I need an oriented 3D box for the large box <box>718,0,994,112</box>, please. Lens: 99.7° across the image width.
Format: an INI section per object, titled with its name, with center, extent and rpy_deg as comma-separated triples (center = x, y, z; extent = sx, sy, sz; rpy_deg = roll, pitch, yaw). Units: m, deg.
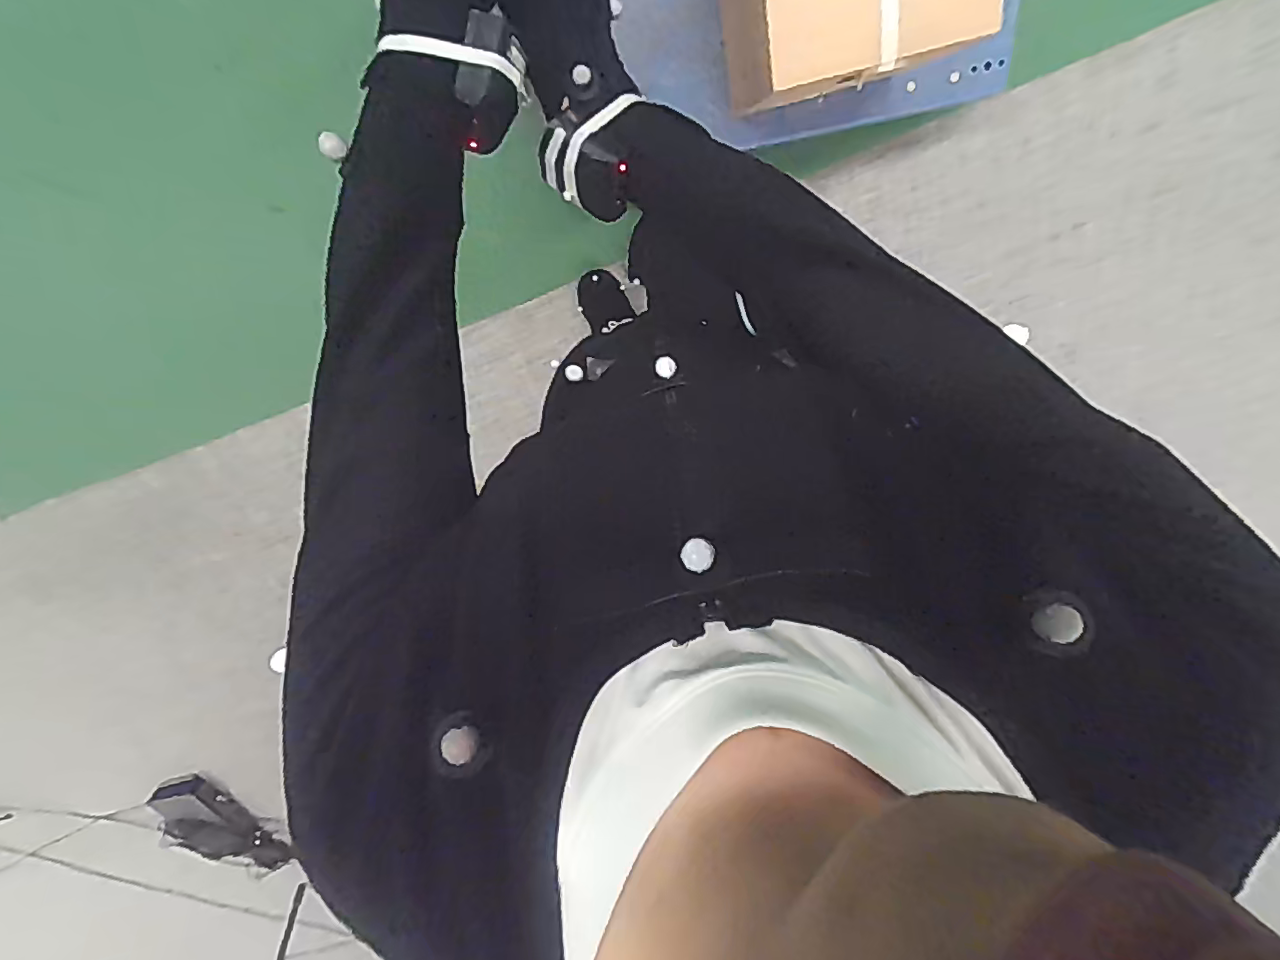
[large box]
center = 0.279, -0.822, 0.783
extent = 0.320, 0.320, 0.408
rpy_deg = -12, 118, 4
